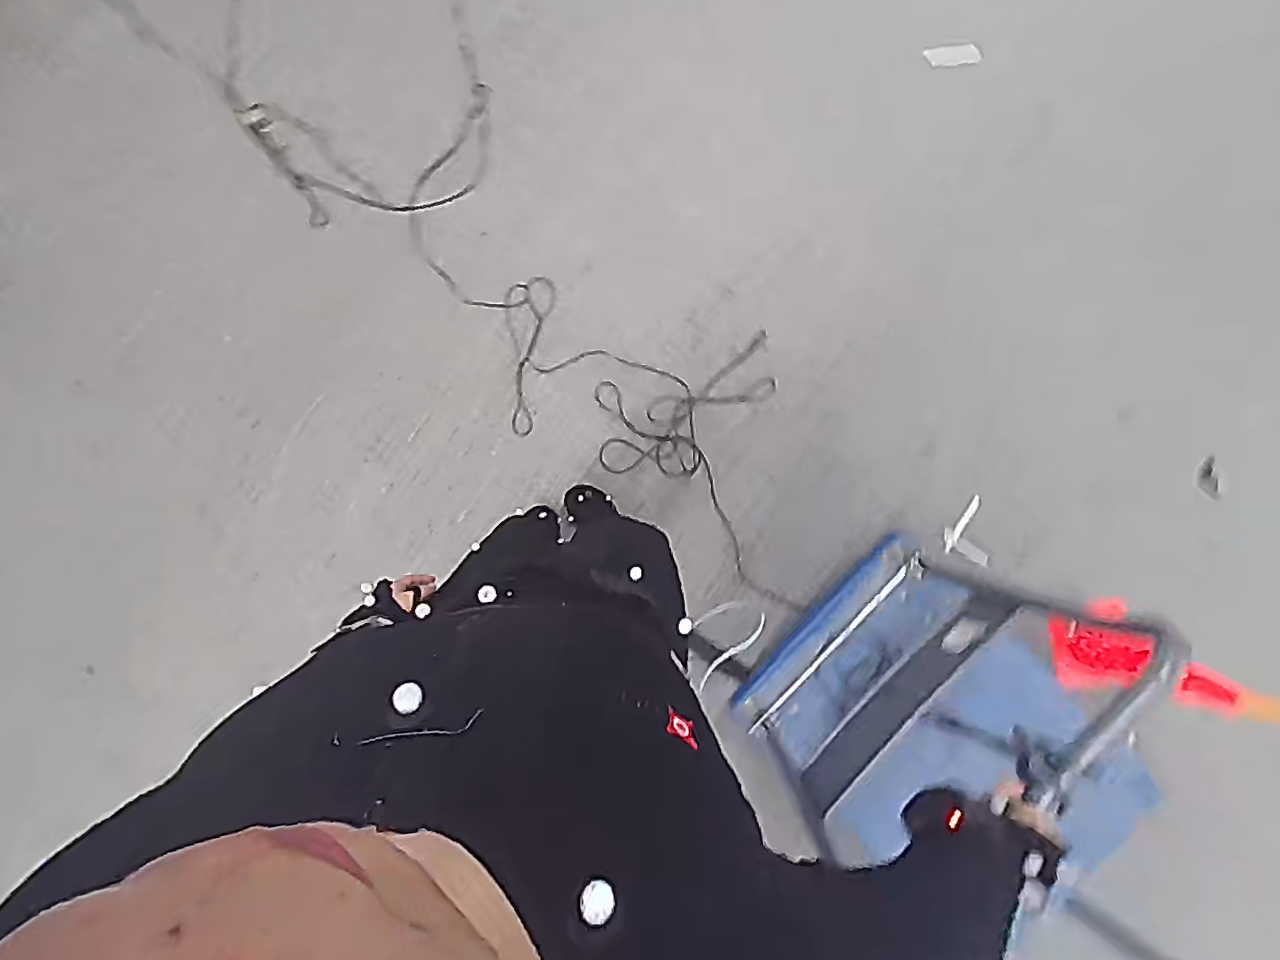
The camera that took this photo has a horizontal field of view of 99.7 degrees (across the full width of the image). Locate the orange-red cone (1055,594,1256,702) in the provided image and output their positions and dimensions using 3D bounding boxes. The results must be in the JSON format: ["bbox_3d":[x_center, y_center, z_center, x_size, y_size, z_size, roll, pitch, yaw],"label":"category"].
[{"bbox_3d":[1.181,0.409,1.227,0.198,0.360,0.199,-11,93,0],"label":"orange-red cone"}]
